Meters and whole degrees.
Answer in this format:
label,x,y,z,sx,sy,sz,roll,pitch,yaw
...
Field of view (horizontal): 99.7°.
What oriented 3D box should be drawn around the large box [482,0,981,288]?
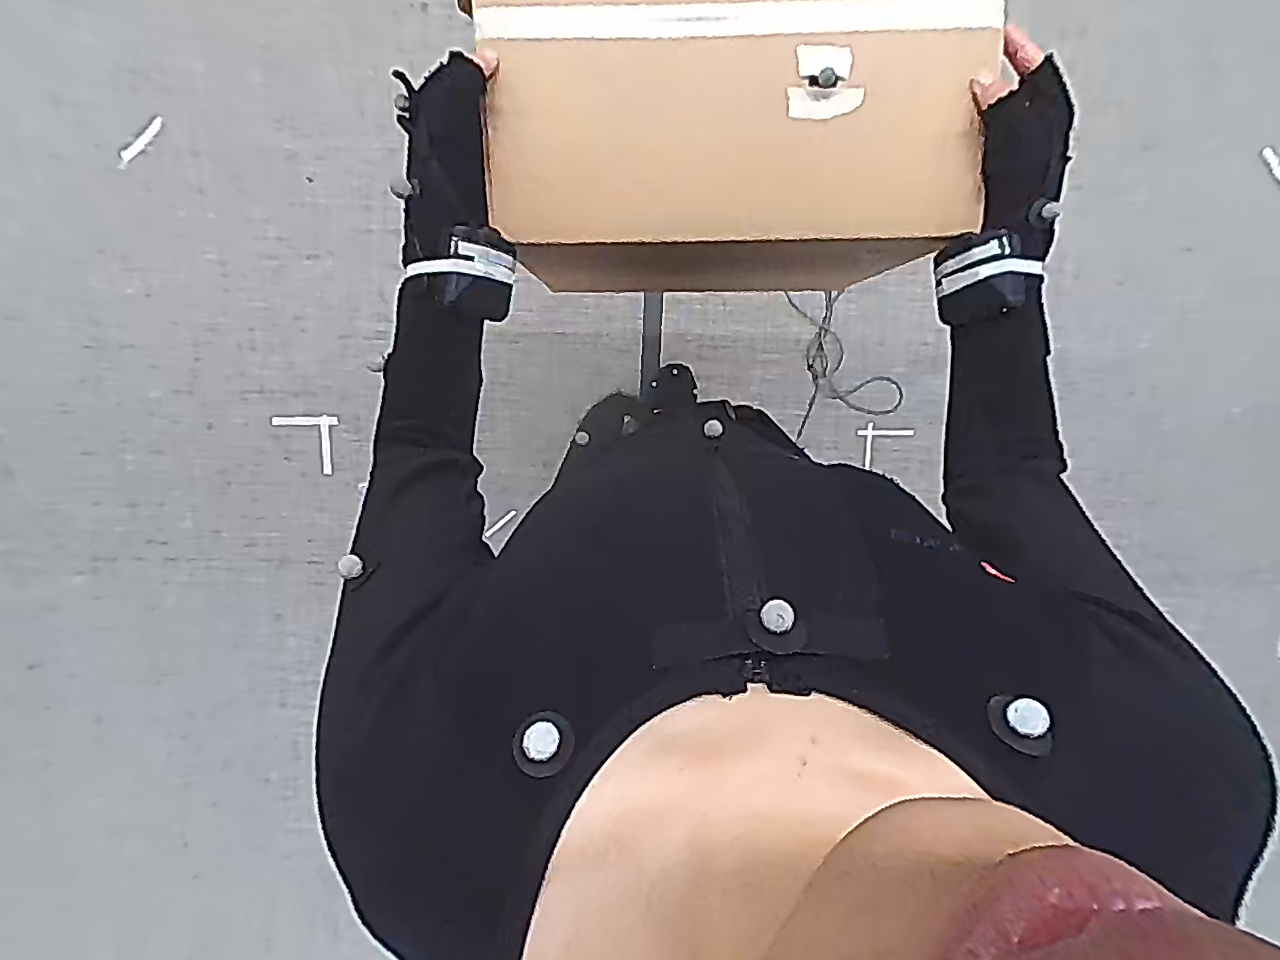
label,x,y,z,sx,sy,sz,roll,pitch,yaw
large box,0.070,-0.394,0.577,0.408,0.320,0.320,-1,103,0
